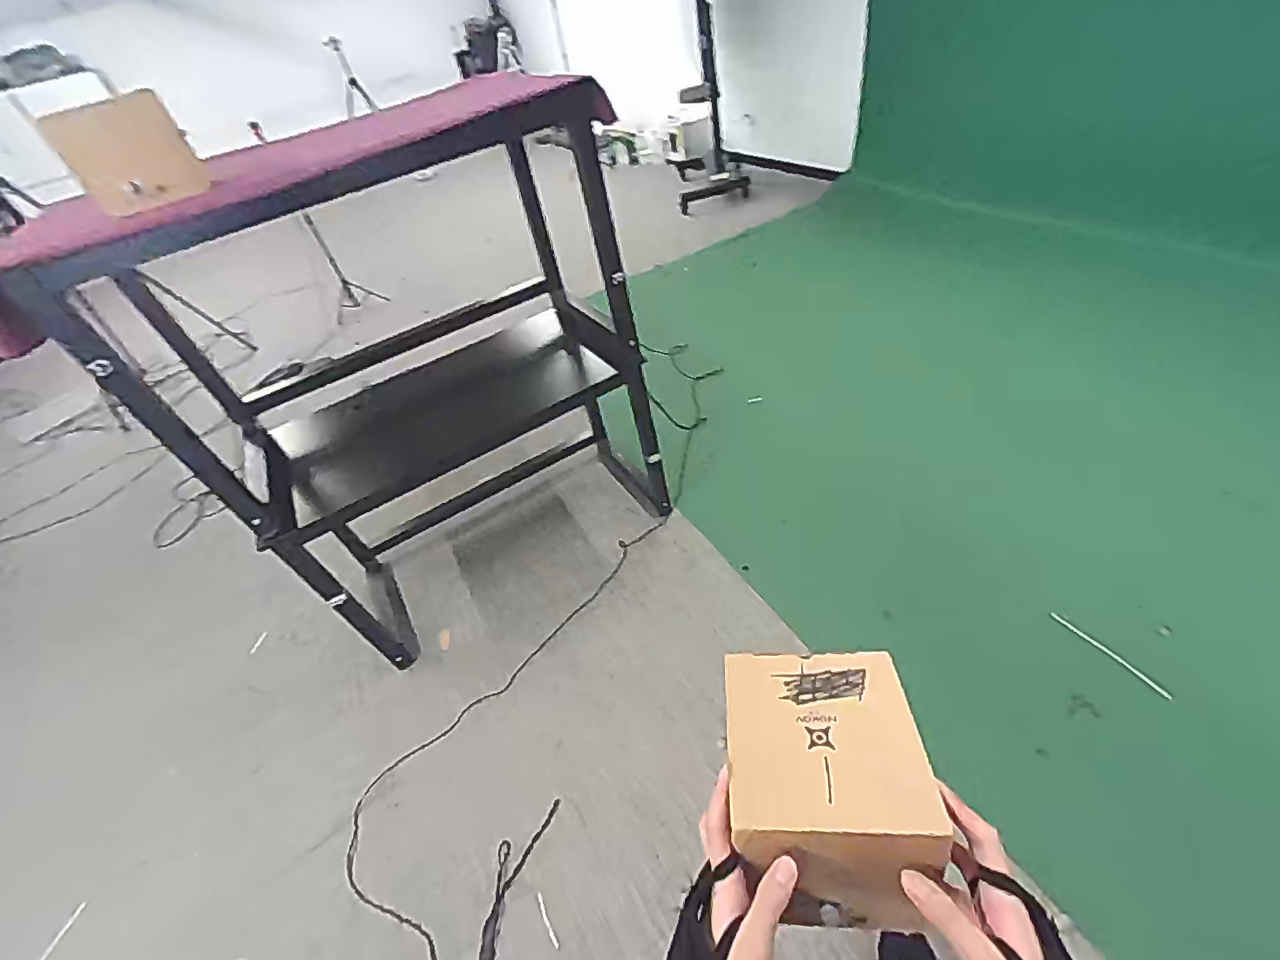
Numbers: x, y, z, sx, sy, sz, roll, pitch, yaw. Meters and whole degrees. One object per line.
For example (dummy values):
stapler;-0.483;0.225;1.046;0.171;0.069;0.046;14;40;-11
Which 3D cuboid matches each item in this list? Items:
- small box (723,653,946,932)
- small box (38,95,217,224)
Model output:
small box;0.168;0.293;0.525;0.168;0.176;0.179;-5;31;10
small box;-0.951;-0.607;1.027;0.168;0.176;0.179;-27;44;-12
